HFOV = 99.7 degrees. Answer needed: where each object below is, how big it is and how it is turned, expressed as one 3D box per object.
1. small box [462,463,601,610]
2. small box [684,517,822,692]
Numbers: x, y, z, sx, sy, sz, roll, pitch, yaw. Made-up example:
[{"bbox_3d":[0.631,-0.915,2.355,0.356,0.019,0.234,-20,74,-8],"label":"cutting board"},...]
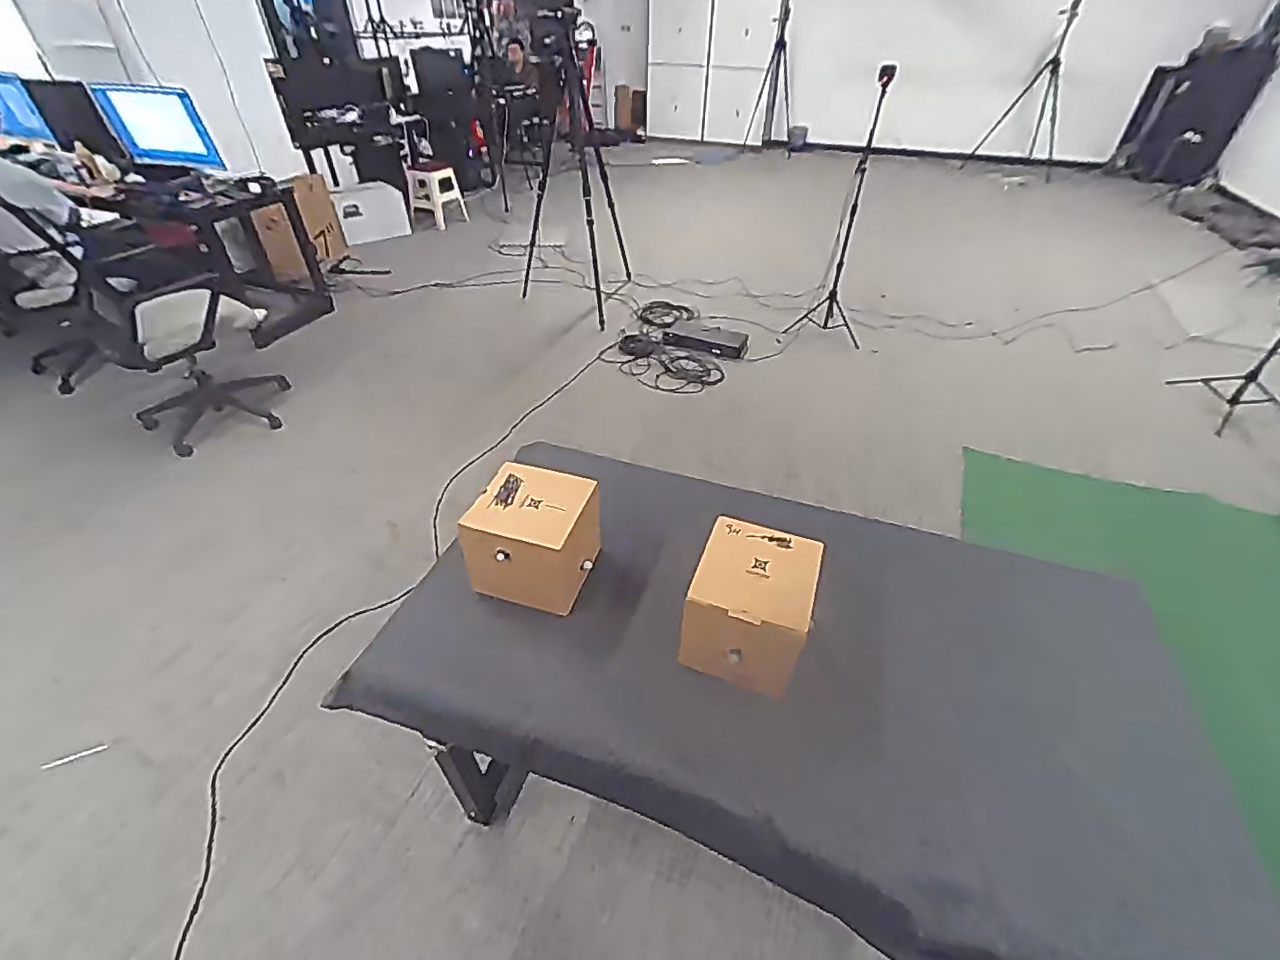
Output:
[{"bbox_3d":[-0.175,0.098,0.931,0.179,0.176,0.168,13,42,12],"label":"small box"},{"bbox_3d":[0.169,0.192,0.831,0.168,0.176,0.179,15,43,16],"label":"small box"}]
